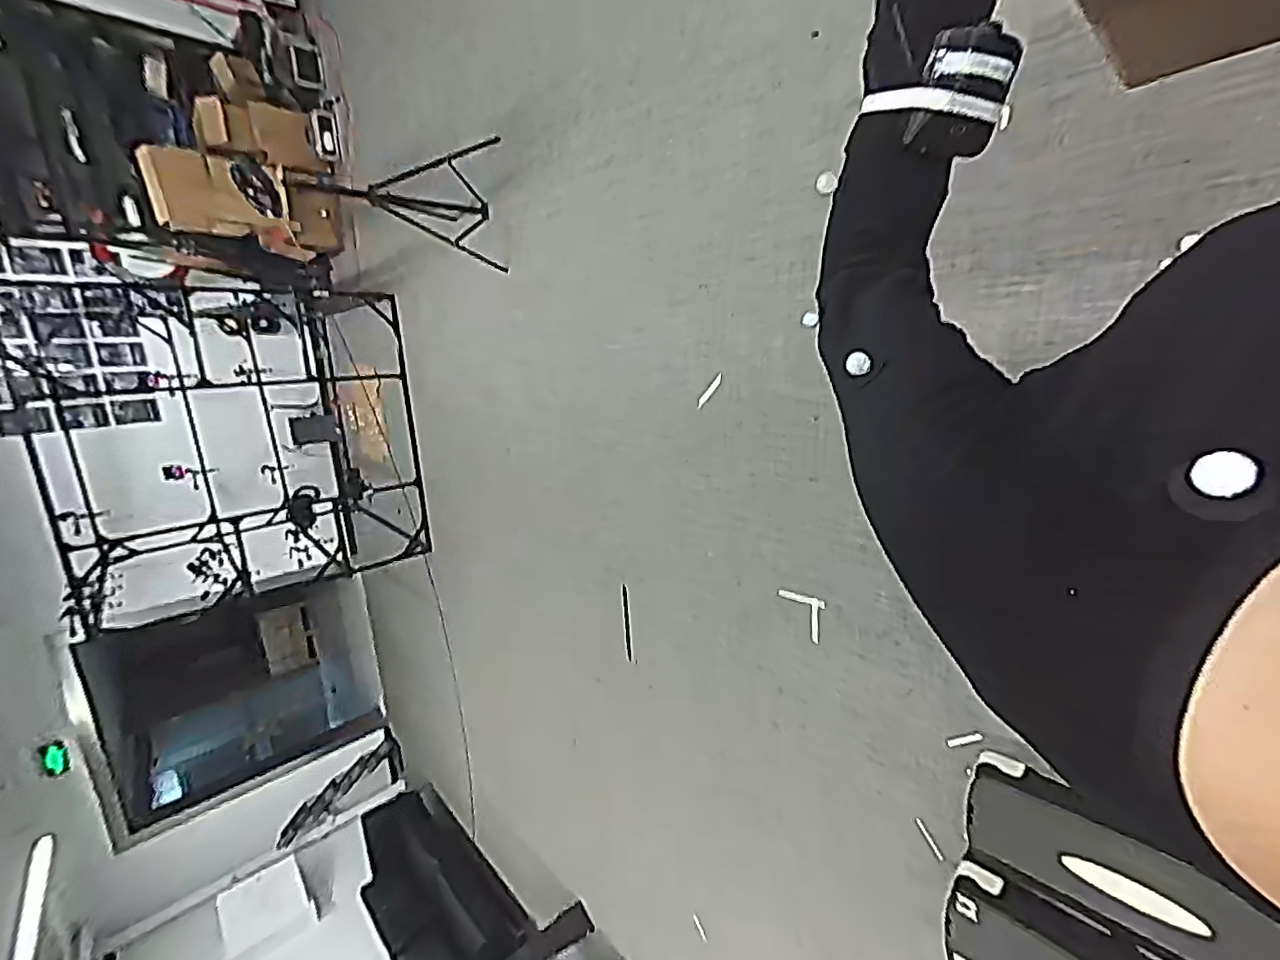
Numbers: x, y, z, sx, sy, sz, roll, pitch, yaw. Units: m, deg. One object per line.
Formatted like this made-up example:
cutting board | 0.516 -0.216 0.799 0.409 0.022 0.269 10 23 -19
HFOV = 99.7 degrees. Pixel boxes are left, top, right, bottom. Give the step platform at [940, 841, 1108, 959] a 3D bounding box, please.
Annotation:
step platform | 1.103 1.212 1.288 0.684 0.204 0.286 9 107 49

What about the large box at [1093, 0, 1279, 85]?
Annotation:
large box | 0.475 -0.469 0.244 0.408 0.320 0.320 6 110 45
